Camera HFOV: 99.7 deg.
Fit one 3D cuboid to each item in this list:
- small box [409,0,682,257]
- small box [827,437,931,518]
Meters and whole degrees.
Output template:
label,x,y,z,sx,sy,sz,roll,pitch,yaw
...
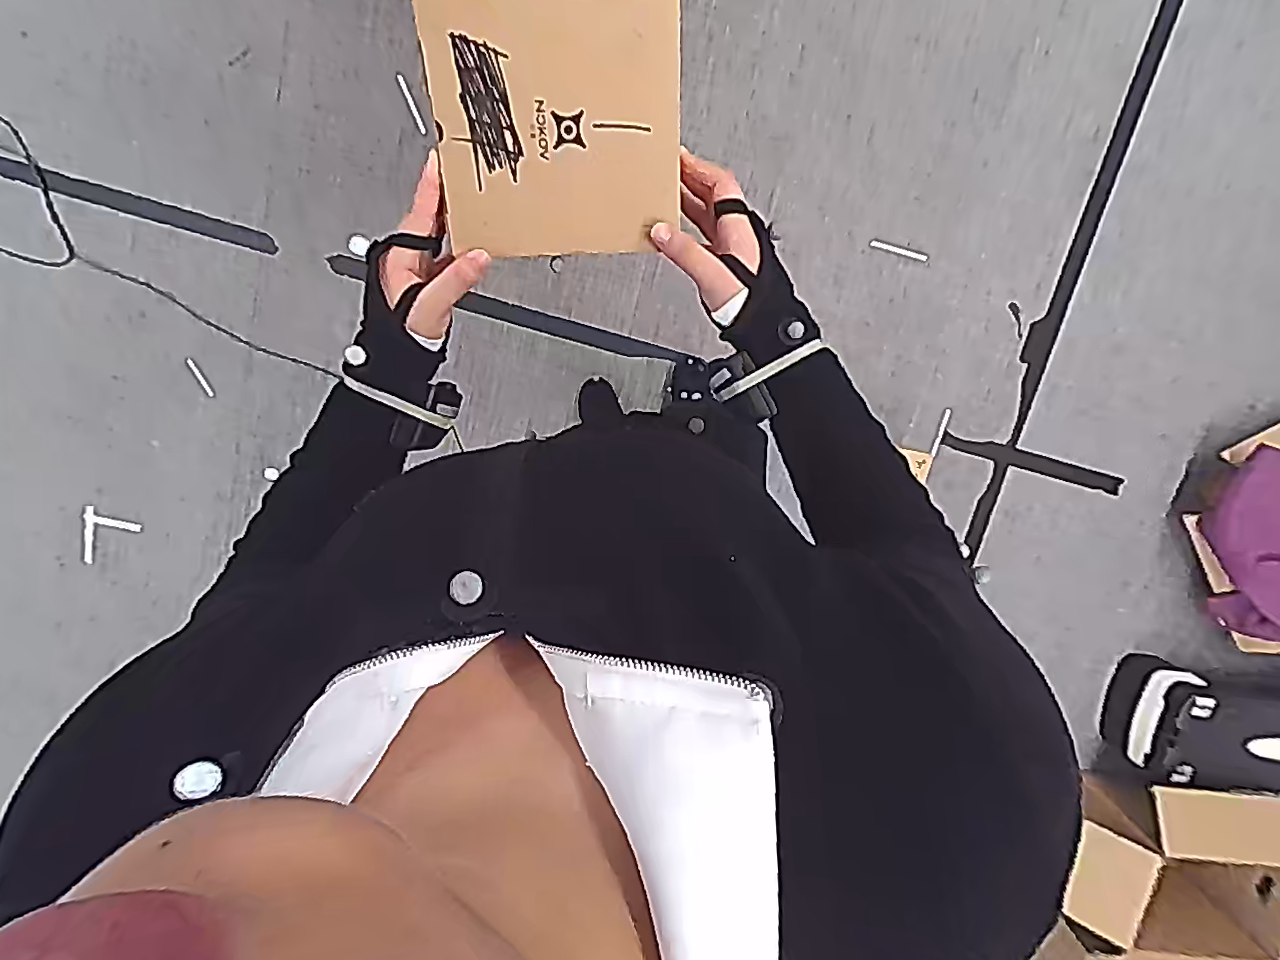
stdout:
label,x,y,z,sx,sy,sz,roll,pitch,yaw
small box,-0.060,-0.274,0.444,0.179,0.176,0.168,-2,113,-1
small box,0.608,-0.013,1.404,0.179,0.176,0.168,12,101,-1
